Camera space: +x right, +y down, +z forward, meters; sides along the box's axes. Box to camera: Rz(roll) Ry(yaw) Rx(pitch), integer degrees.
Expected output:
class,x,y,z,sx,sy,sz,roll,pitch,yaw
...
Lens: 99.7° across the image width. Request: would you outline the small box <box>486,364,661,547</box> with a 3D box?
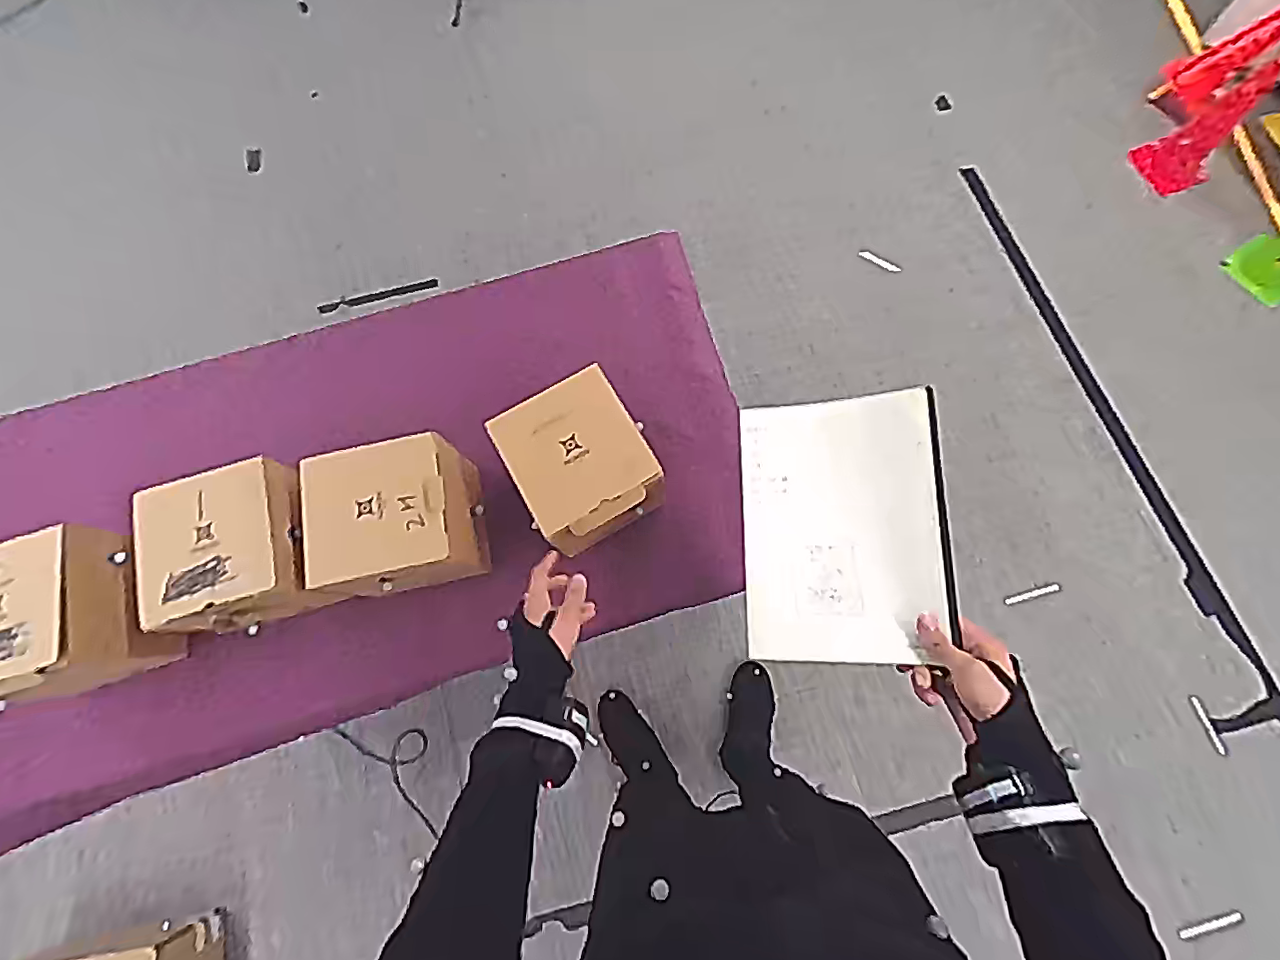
class,x,y,z,sx,sy,sz,roll,pitch,yaw
small box,-0.080,-0.021,0.744,0.168,0.176,0.179,-29,75,-6
